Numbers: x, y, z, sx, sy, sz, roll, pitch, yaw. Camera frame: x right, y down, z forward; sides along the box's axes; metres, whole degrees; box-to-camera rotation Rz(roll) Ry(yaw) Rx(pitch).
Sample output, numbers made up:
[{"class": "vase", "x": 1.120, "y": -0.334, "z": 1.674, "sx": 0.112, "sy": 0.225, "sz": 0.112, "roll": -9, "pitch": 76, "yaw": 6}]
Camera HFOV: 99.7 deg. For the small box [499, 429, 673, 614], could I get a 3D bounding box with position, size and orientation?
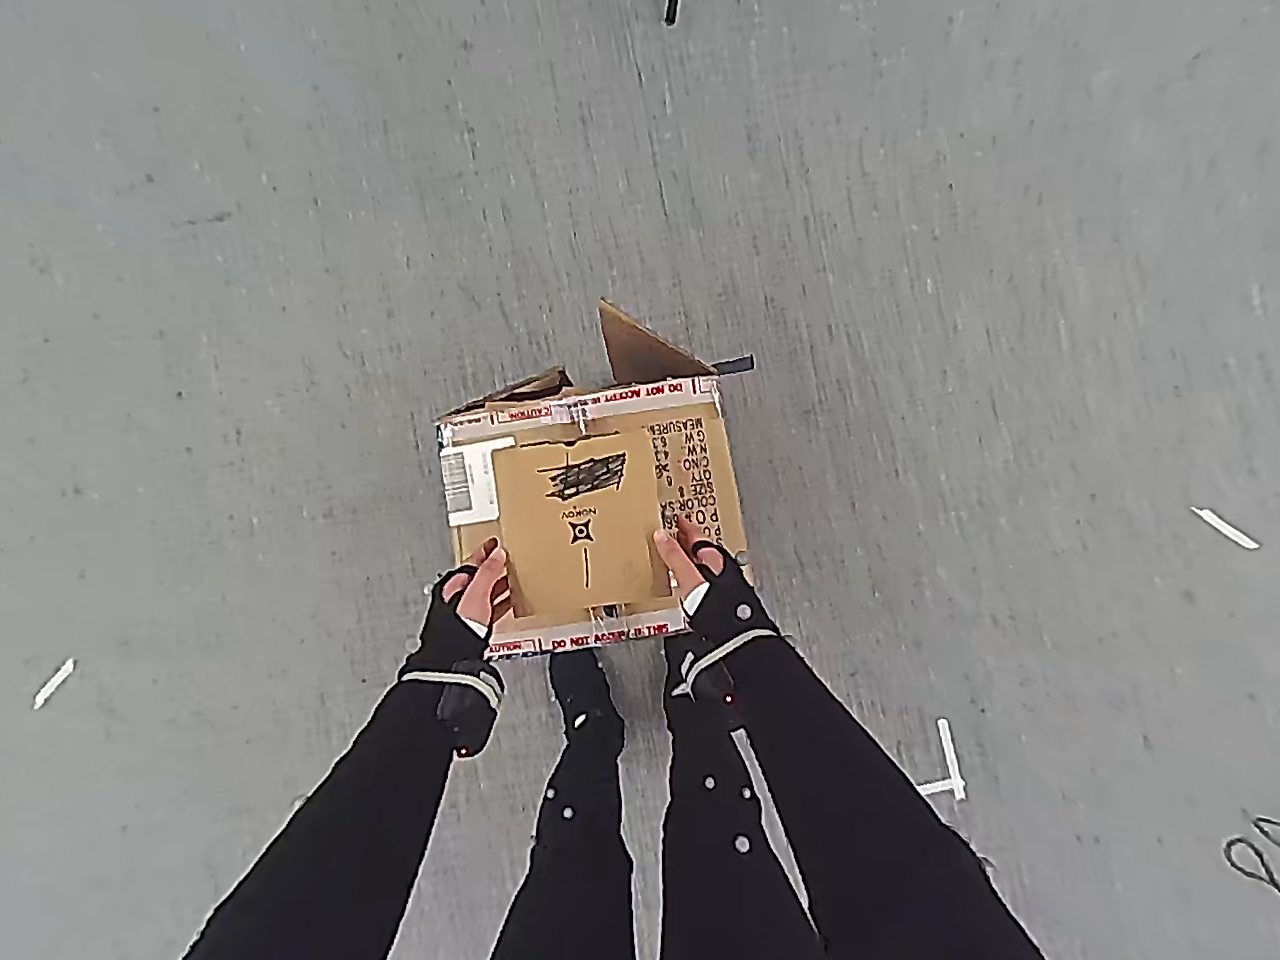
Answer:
[{"class": "small box", "x": -0.058, "y": 0.044, "z": 0.639, "sx": 0.168, "sy": 0.176, "sz": 0.179, "roll": -8, "pitch": 90, "yaw": 0}]
